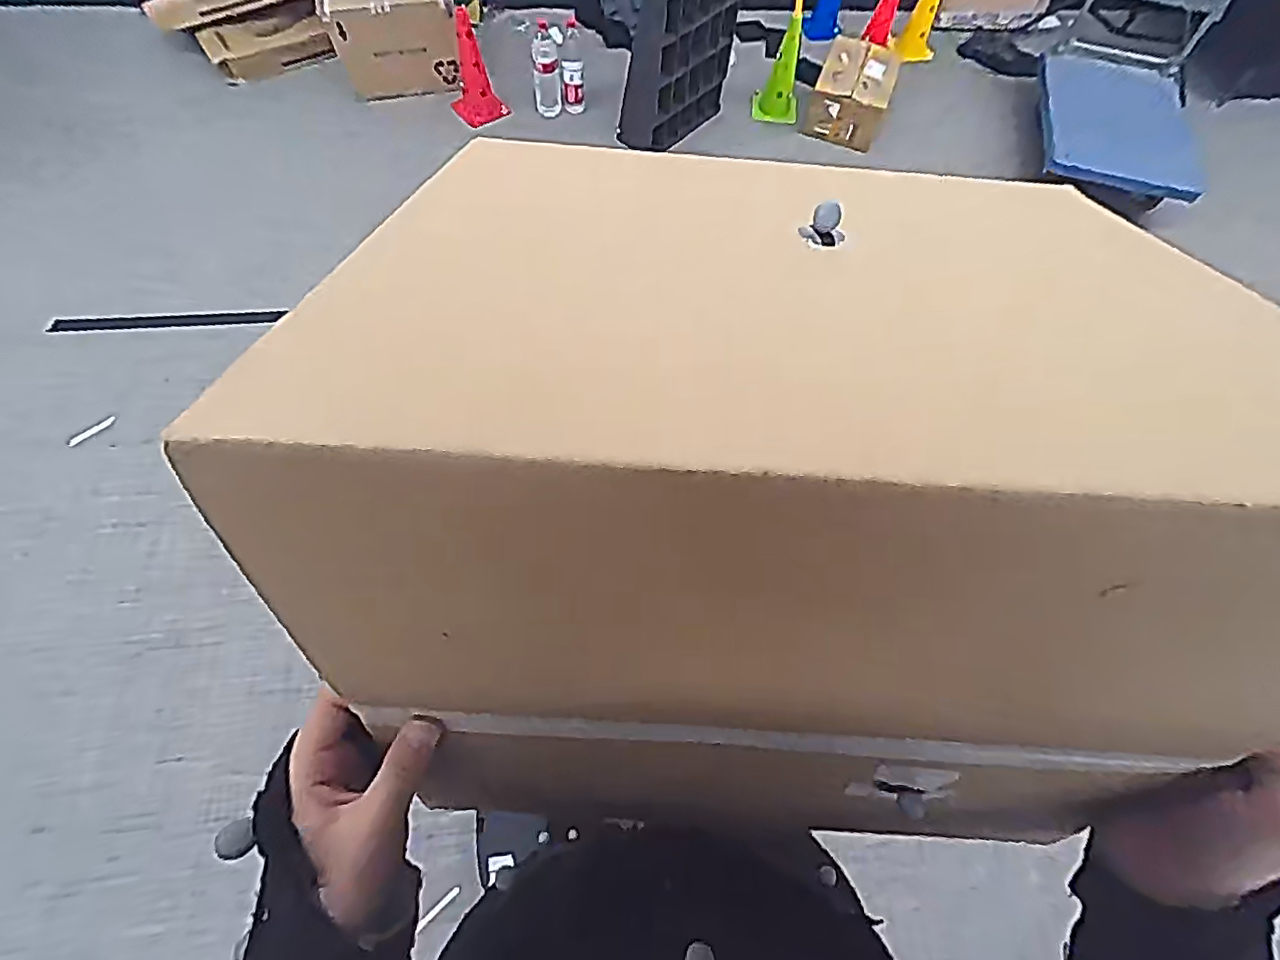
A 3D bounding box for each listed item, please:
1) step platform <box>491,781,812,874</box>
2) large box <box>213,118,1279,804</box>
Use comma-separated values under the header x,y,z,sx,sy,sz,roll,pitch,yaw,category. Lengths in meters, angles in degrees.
x,y,z,sx,sy,sz,roll,pitch,yaw,category
0.024,0.684,1.197,0.684,0.204,0.286,2,65,-3,step platform
0.085,-0.017,0.345,0.408,0.320,0.320,3,45,-1,large box
